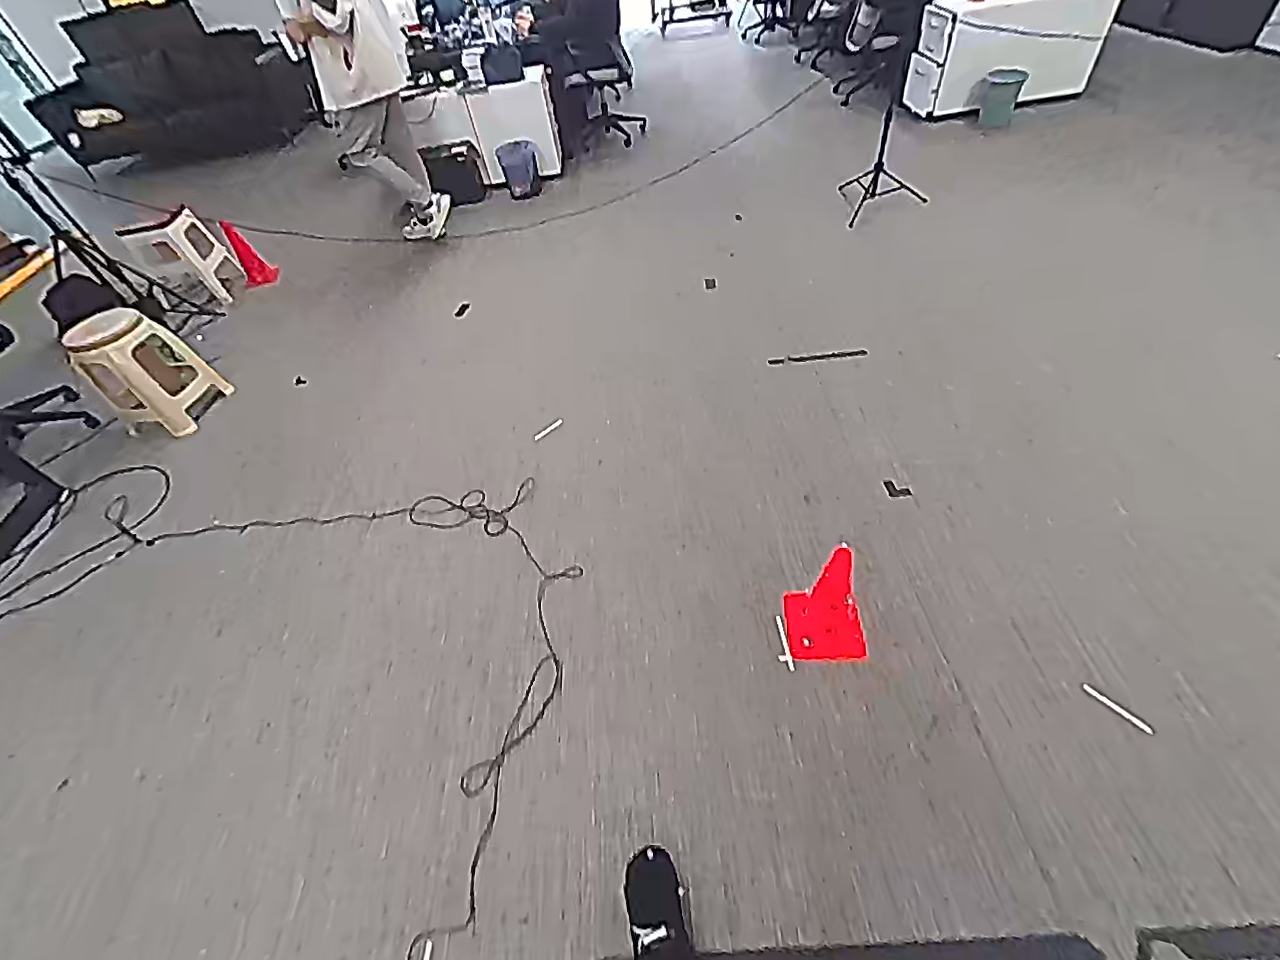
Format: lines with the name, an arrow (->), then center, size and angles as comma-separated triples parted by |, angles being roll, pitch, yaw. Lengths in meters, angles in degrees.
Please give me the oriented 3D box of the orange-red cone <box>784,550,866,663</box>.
orange-red cone -> 0.478, 0.284, 1.335 | 0.199, 0.360, 0.198 | 0, 49, 7
